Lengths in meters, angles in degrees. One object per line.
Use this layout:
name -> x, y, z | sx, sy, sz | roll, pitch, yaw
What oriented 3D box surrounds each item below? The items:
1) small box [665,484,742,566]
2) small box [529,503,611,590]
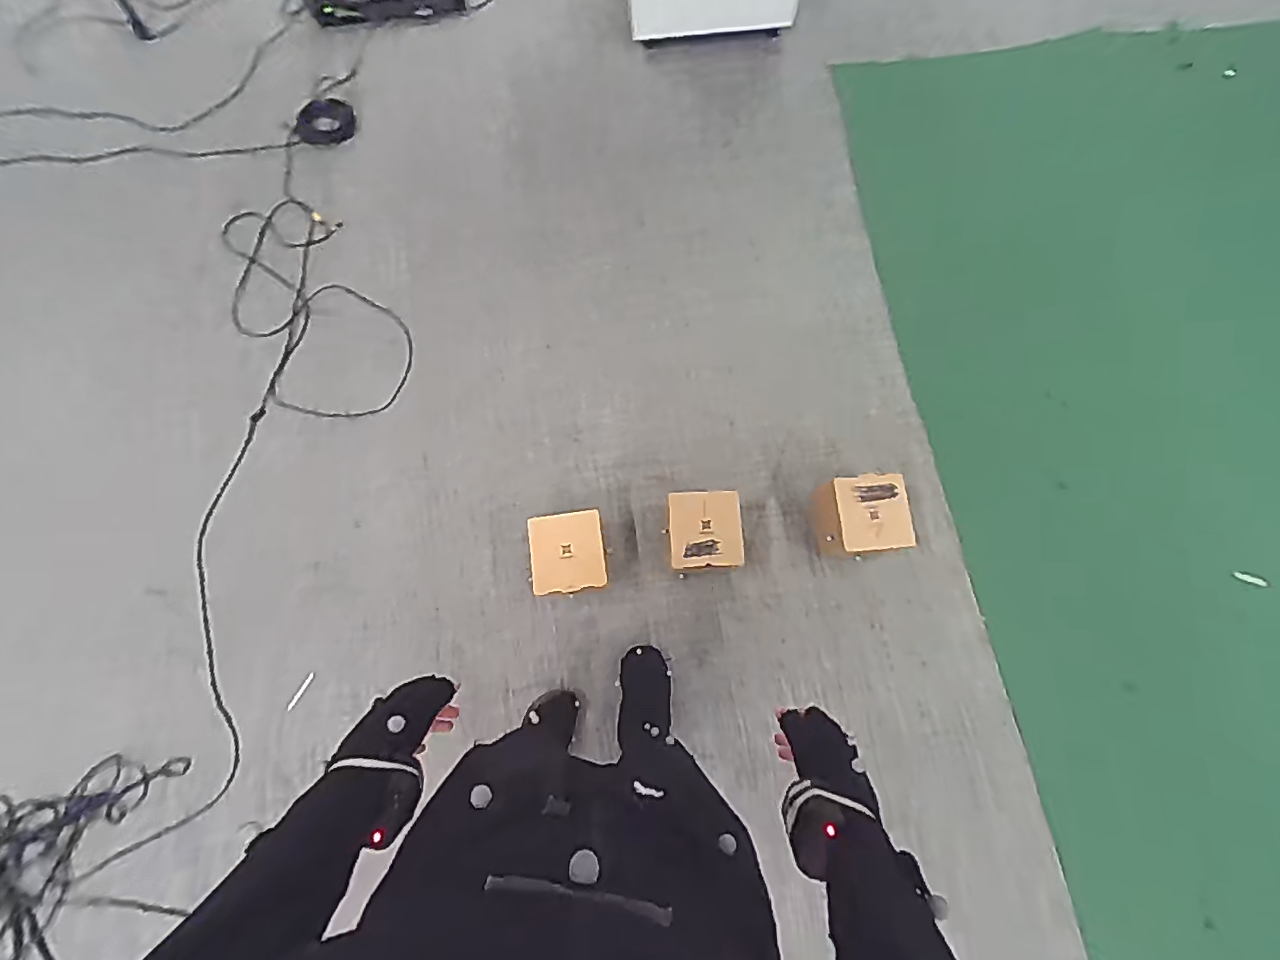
small box -> 0.147, 0.114, 1.300 | 0.168, 0.176, 0.179 | -2, 76, -1
small box -> -0.164, 0.164, 1.290 | 0.168, 0.176, 0.179 | -8, 77, -2
